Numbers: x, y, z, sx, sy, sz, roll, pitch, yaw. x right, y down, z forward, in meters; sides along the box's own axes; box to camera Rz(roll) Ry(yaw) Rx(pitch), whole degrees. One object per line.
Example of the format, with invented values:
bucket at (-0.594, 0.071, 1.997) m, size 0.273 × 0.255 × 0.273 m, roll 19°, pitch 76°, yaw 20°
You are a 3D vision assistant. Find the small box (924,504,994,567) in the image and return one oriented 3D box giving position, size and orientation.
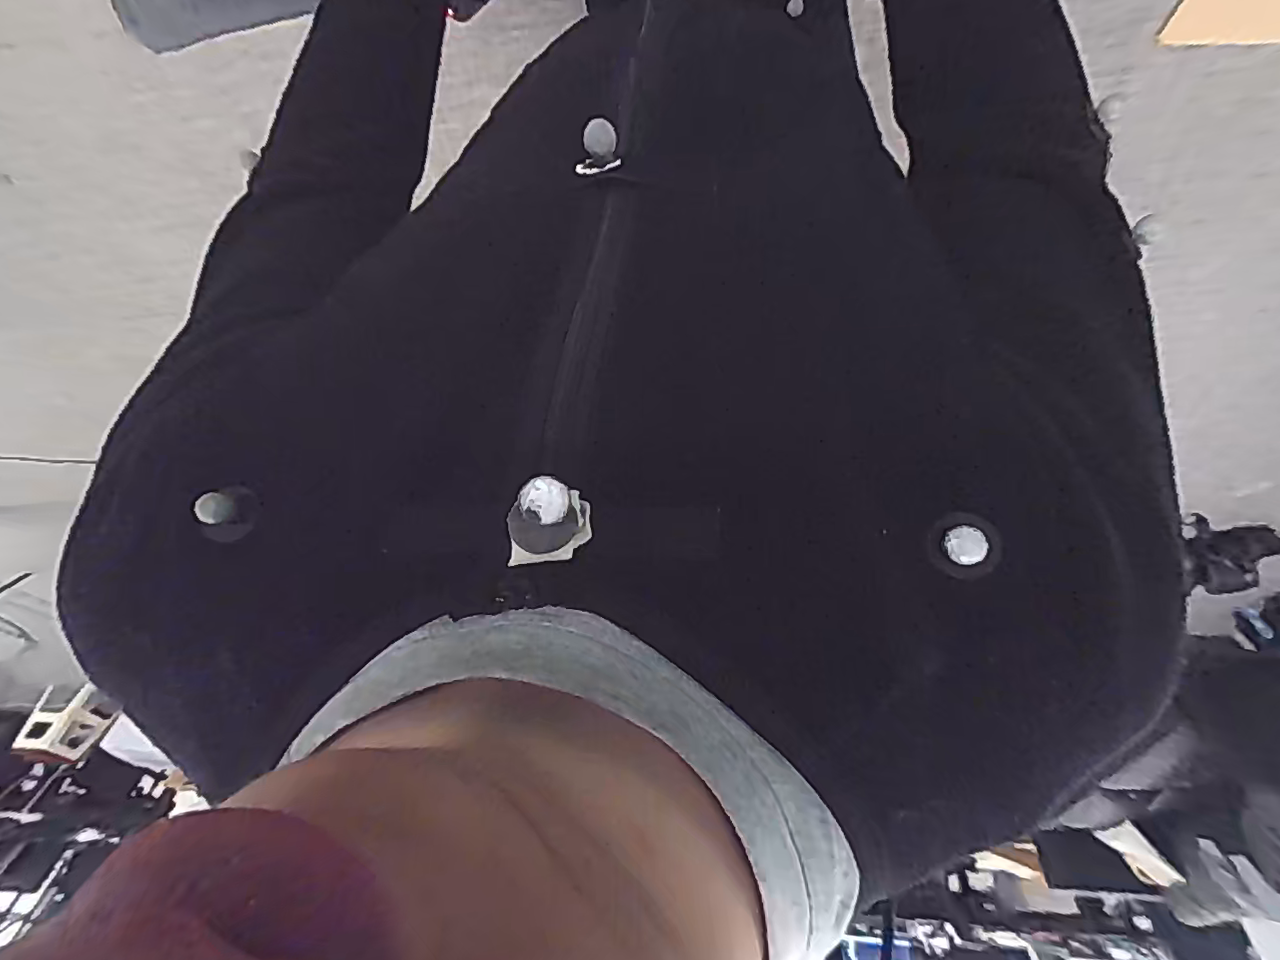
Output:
small box at (1.186, 0.207, 2.027) m, size 0.168 × 0.176 × 0.179 m, roll -3°, pitch 135°, yaw 9°
